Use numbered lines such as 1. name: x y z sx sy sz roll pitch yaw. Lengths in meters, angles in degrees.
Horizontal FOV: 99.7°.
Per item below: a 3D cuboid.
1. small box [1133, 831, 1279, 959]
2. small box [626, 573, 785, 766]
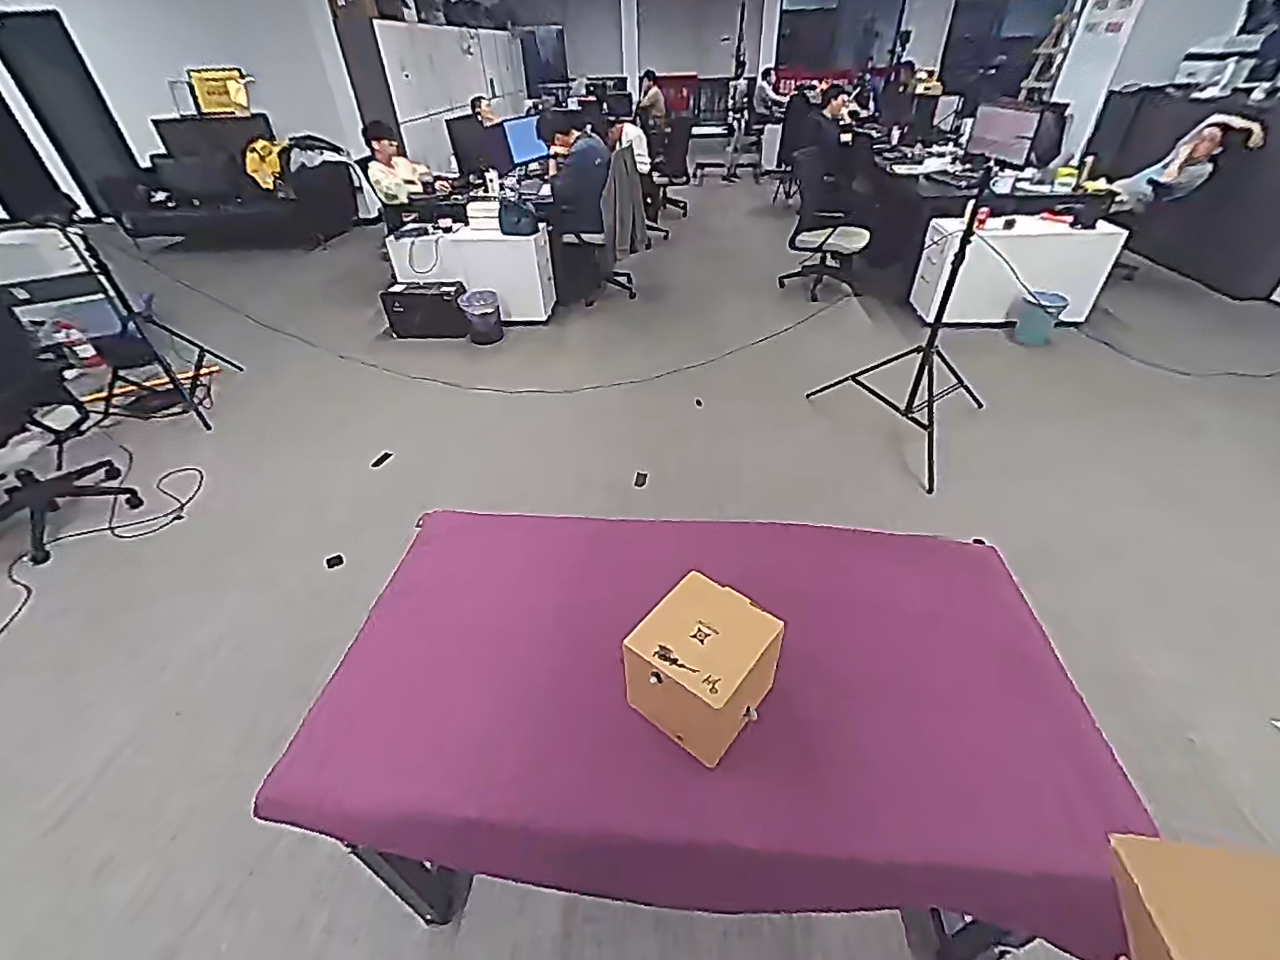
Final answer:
1. small box: 0.345 0.284 0.226 0.168 0.176 0.179 -9 -9 30
2. small box: 0.094 0.281 0.815 0.168 0.176 0.179 26 45 32
